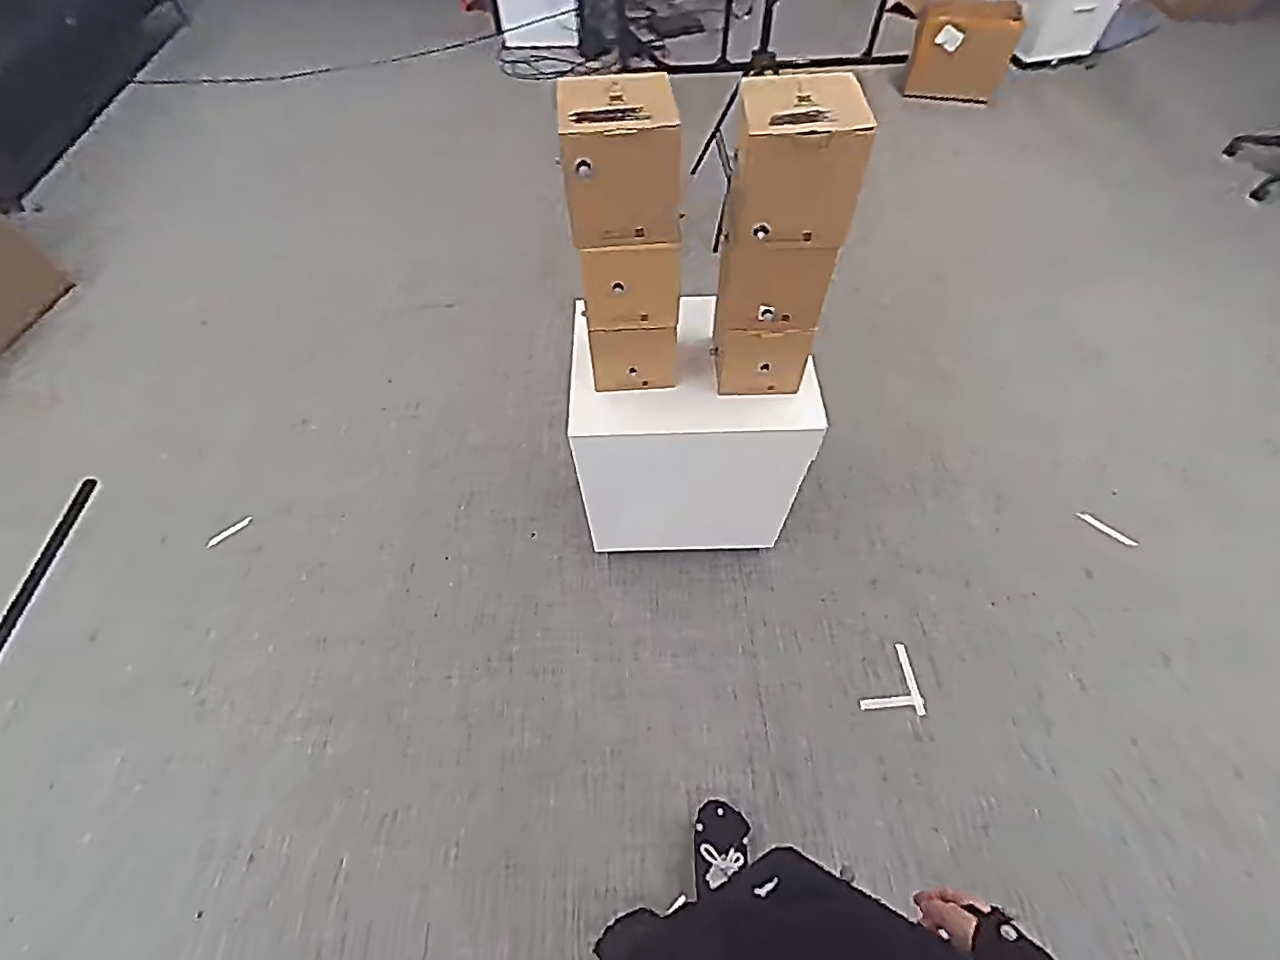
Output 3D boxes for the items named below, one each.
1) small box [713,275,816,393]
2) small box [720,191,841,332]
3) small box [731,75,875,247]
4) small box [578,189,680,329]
[{"bbox_3d":[0.238,-0.288,1.081,0.168,0.176,0.179,-1,59,1],"label":"small box"},{"bbox_3d":[0.234,-0.382,0.949,0.168,0.176,0.179,-2,58,3],"label":"small box"},{"bbox_3d":[0.229,-0.467,0.808,0.168,0.176,0.179,0,56,3],"label":"small box"},{"bbox_3d":[-0.017,-0.383,0.957,0.168,0.176,0.179,-3,57,-1],"label":"small box"}]
